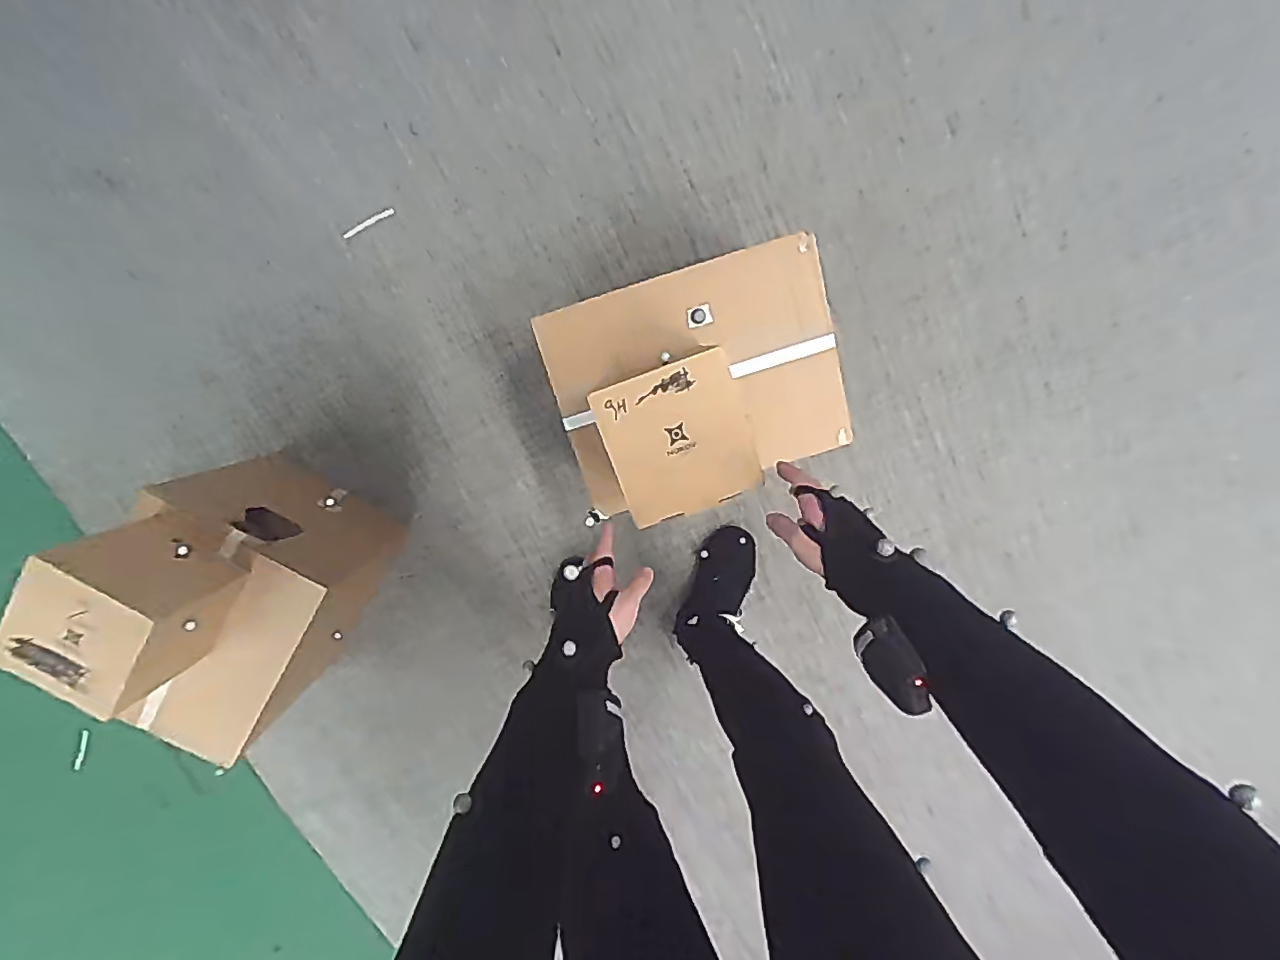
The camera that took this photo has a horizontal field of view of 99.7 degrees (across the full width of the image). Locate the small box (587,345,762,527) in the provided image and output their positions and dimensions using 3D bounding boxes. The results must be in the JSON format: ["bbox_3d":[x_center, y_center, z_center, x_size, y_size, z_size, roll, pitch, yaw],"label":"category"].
[{"bbox_3d":[0.043,-0.066,0.703,0.168,0.176,0.179,-19,104,4],"label":"small box"}]

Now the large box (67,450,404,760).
[{"bbox_3d":[-0.721,0.209,1.017,0.320,0.320,0.408,32,102,-7],"label":"large box"}]
